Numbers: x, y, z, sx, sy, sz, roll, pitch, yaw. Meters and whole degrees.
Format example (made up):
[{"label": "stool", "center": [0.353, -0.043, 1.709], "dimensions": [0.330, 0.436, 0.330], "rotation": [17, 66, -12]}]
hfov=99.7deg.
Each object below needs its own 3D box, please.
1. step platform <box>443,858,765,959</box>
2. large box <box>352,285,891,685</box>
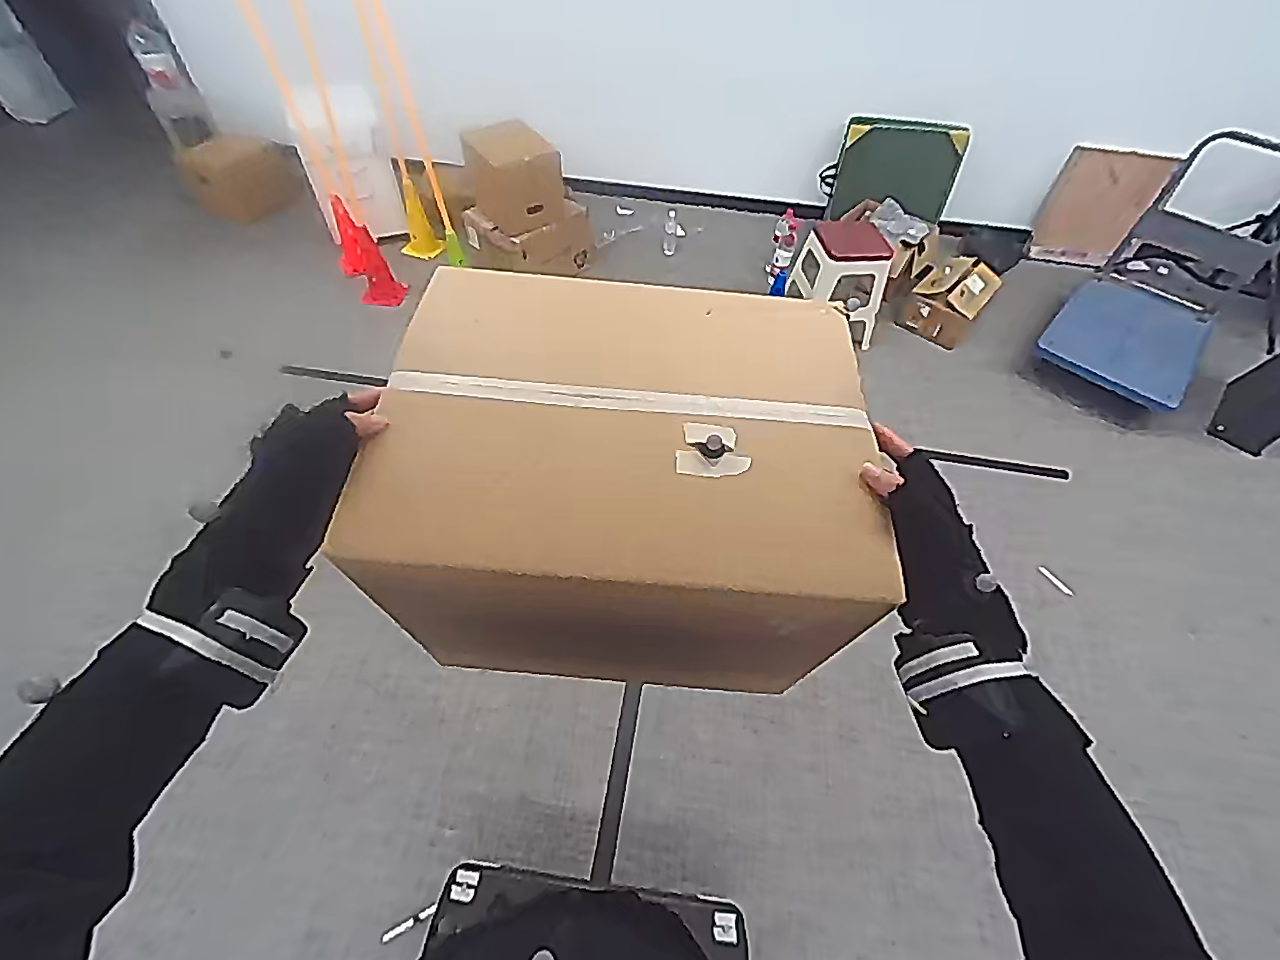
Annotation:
[{"label": "step platform", "center": [-0.075, 1.036, 1.173], "dimensions": [0.684, 0.204, 0.286], "rotation": [7, 52, 1]}, {"label": "large box", "center": [-0.015, 0.024, 0.595], "dimensions": [0.408, 0.320, 0.320], "rotation": [5, 58, -1]}]
